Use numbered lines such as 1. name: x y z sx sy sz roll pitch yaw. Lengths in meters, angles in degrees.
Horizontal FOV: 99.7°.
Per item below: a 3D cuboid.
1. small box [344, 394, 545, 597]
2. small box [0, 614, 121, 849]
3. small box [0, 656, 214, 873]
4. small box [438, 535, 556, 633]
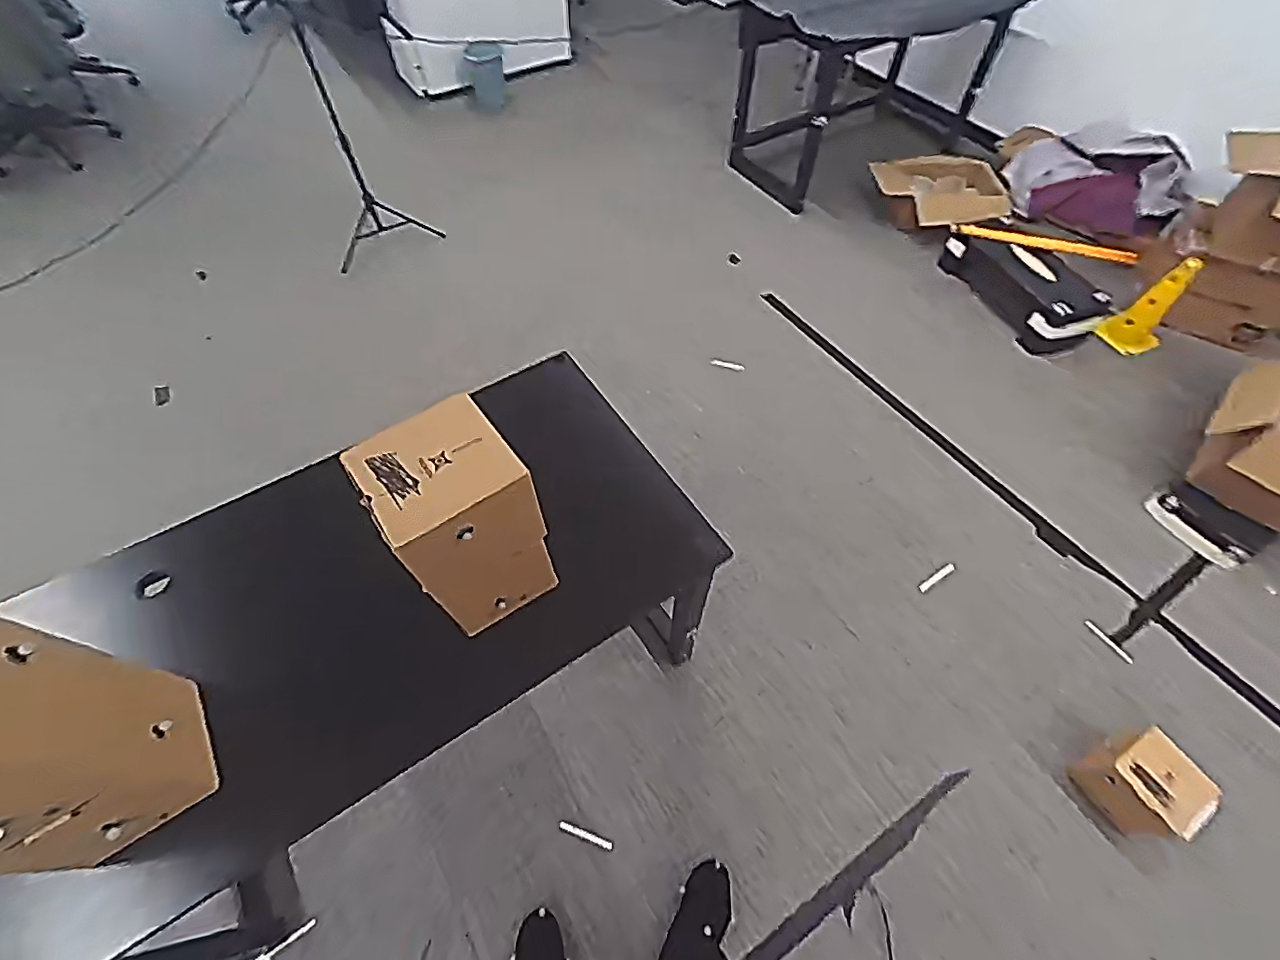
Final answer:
1. small box: -0.247 0.026 0.719 0.179 0.176 0.168 -32 63 -20
2. small box: -0.695 0.270 0.555 0.168 0.176 0.179 -30 62 -18
3. small box: -0.695 0.362 0.692 0.168 0.176 0.179 -30 62 -19
4. small box: -0.251 0.111 0.859 0.168 0.176 0.179 -29 62 -18
